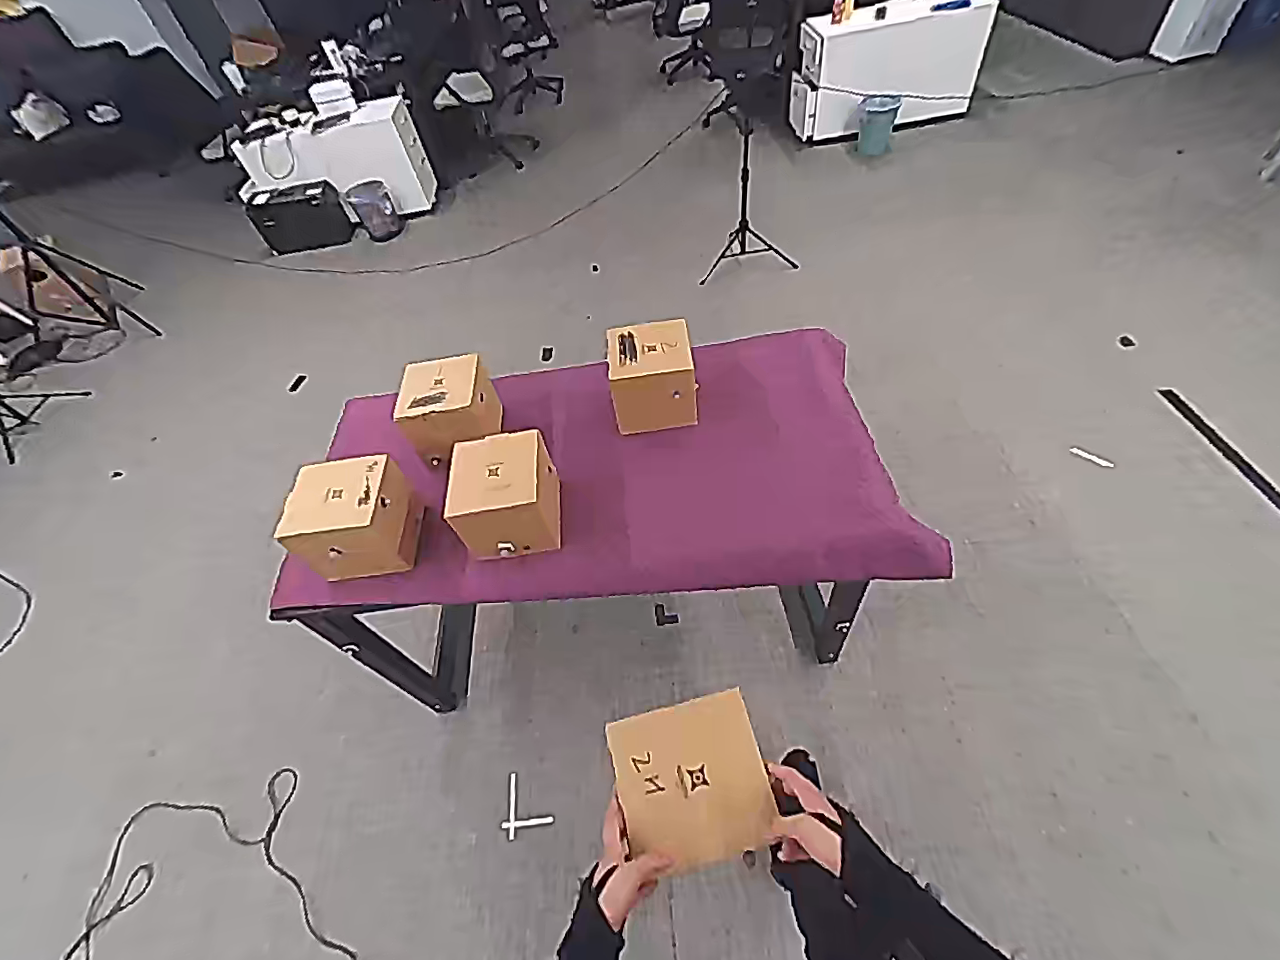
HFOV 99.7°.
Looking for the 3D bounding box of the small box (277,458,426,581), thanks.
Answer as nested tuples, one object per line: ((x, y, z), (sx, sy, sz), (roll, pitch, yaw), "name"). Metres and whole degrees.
((-0.547, 0.083, 1.054), (0.179, 0.176, 0.168), (-9, 52, 3), "small box")

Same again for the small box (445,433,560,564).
((-0.255, 0.038, 1.043), (0.168, 0.176, 0.179), (-10, 53, 3), "small box")

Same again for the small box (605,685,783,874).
((0.064, 0.381, 0.701), (0.179, 0.176, 0.168), (-15, 60, -2), "small box")

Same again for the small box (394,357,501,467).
((-0.420, -0.144, 1.213), (0.168, 0.176, 0.179), (-9, 51, 2), "small box")
